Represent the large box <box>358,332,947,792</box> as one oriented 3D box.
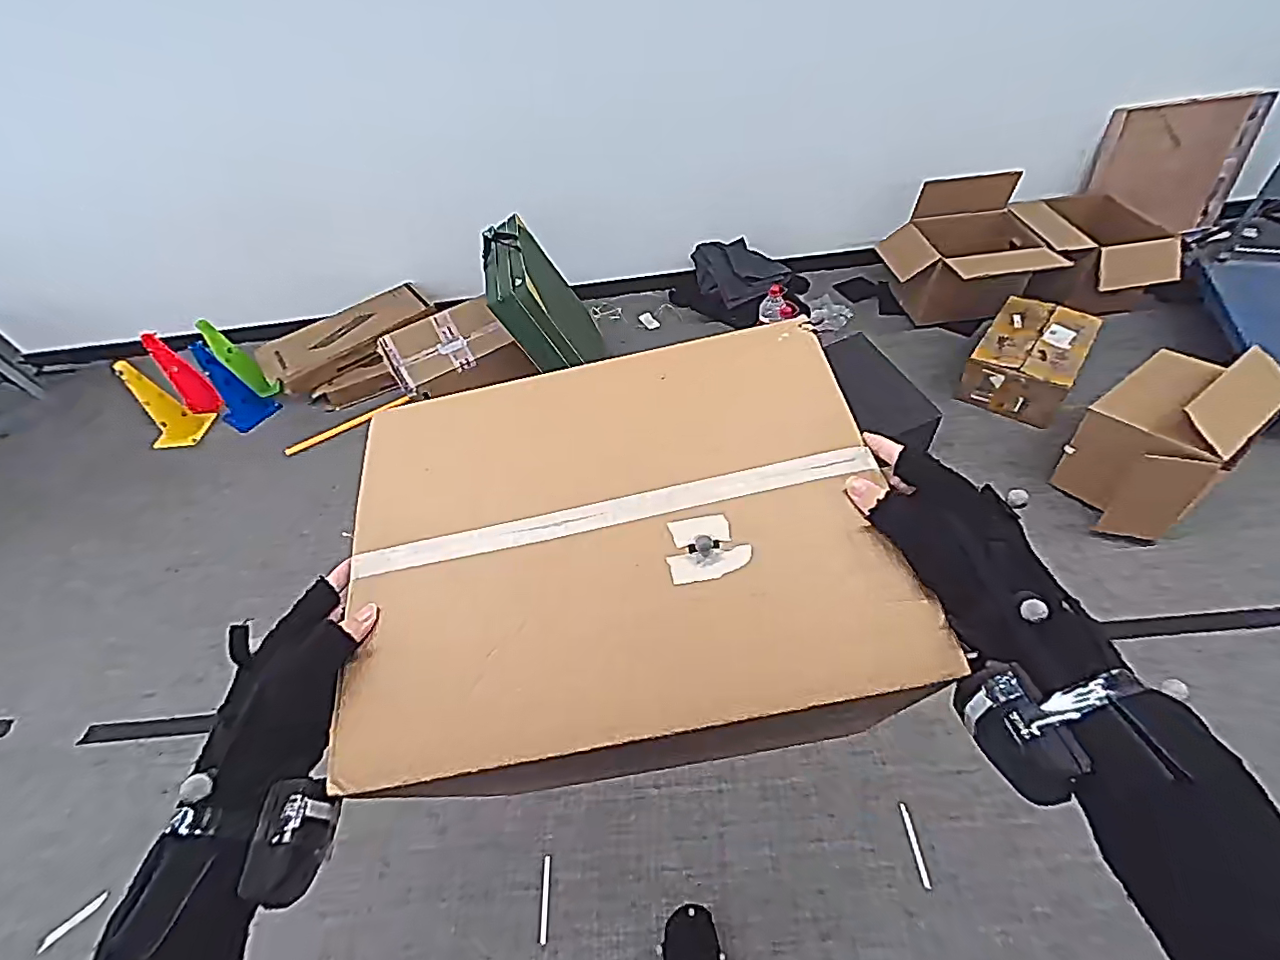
[{"bbox_3d":[0.000,0.107,0.554,0.408,0.320,0.320,-12,59,2],"label":"large box"}]
